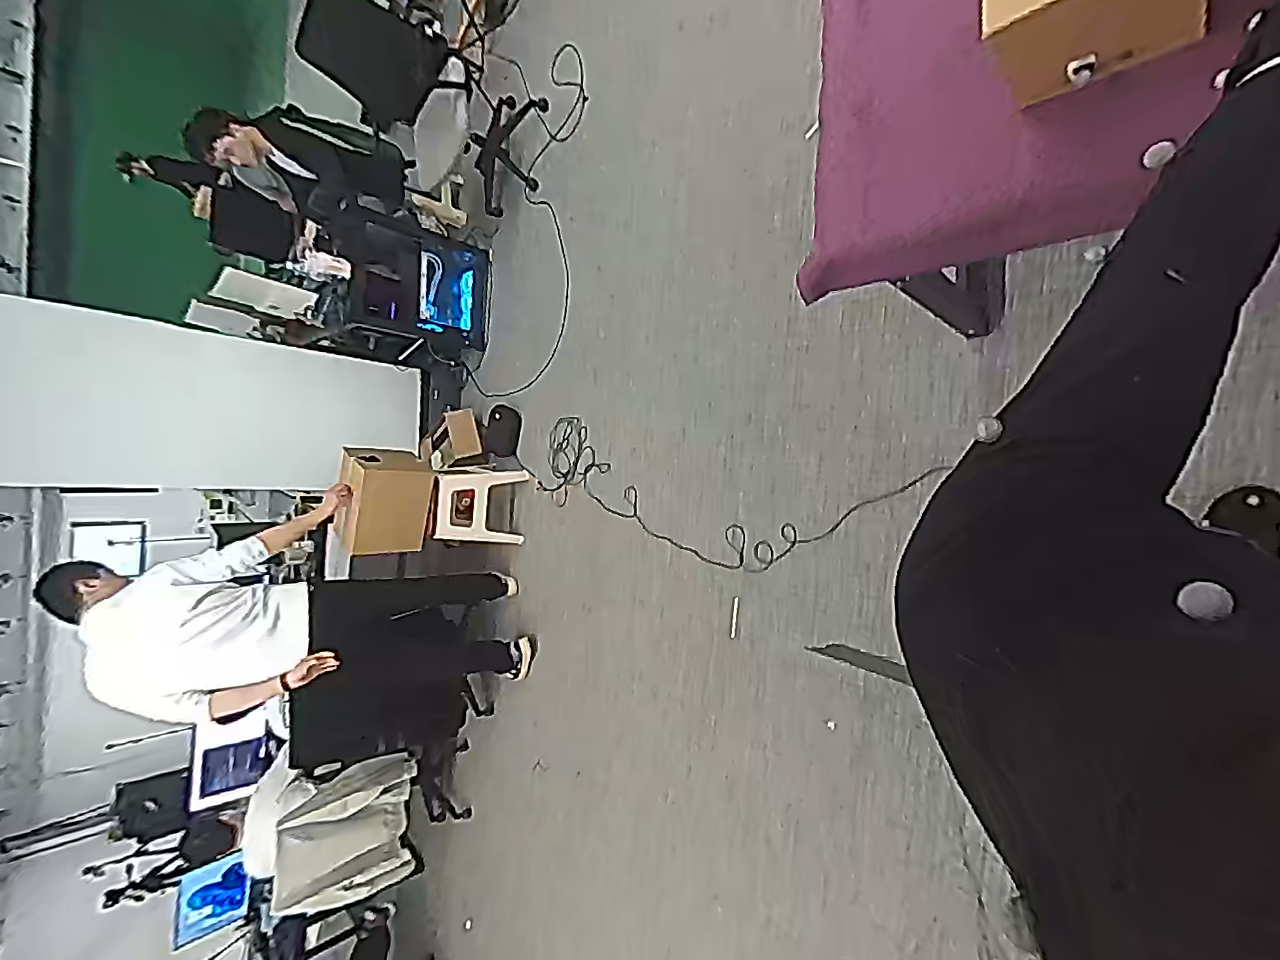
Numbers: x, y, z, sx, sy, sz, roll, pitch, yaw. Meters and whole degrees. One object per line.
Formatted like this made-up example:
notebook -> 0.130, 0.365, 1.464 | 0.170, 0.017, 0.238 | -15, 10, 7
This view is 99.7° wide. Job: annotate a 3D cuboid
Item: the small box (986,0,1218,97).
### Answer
small box -> 0.471, -0.549, 0.551 | 0.168, 0.176, 0.179 | 0, 89, 47
